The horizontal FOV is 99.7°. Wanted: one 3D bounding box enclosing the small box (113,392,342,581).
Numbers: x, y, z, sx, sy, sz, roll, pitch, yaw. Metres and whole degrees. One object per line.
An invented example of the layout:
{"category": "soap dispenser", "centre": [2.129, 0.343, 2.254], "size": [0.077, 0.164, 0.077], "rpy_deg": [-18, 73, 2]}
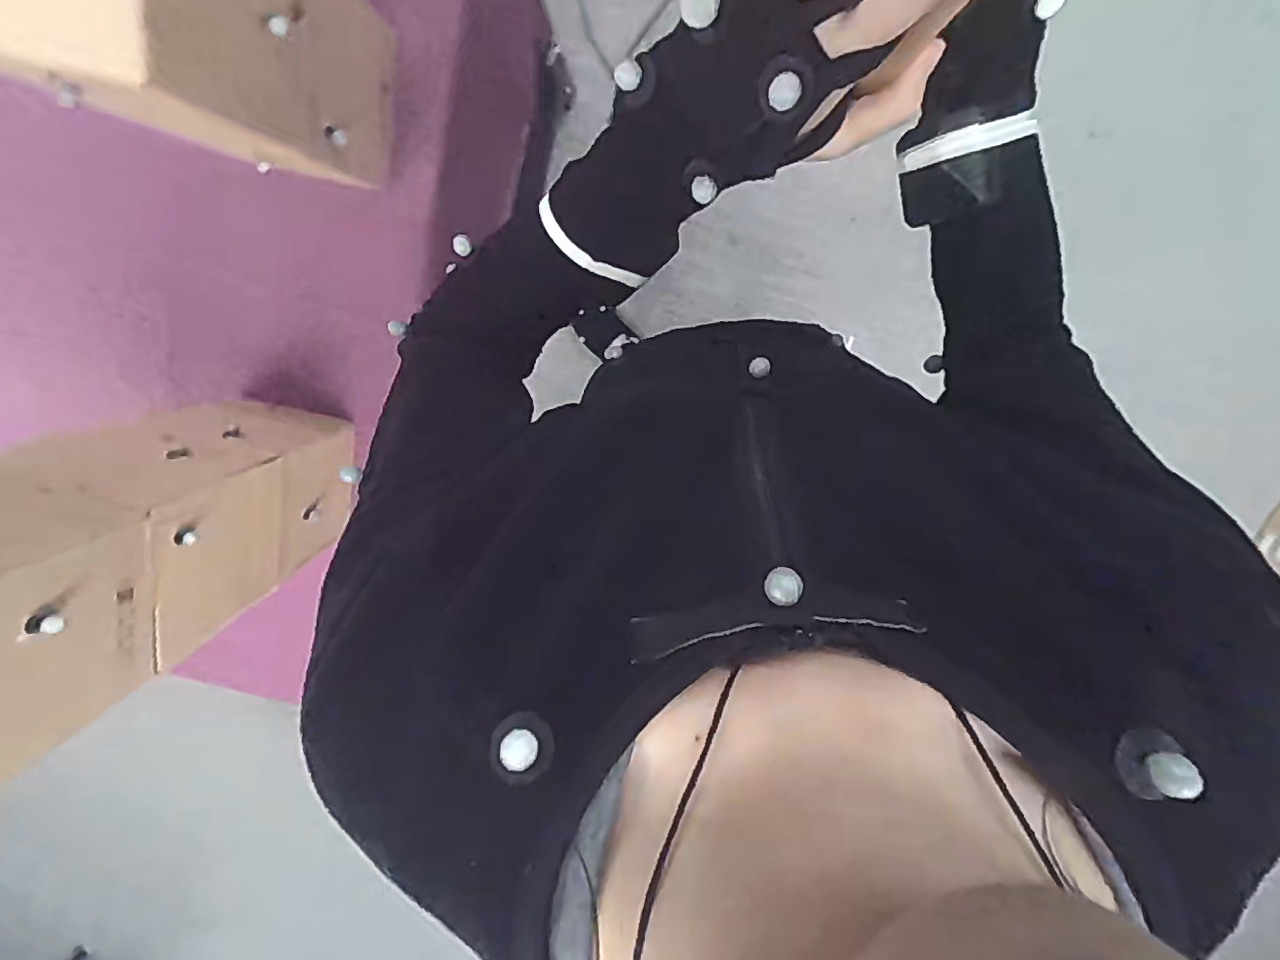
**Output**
{"category": "small box", "centre": [-0.509, -0.001, 0.692], "size": [0.168, 0.176, 0.179], "rpy_deg": [13, 108, -3]}

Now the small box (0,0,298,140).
{"category": "small box", "centre": [-0.388, -0.375, 0.394], "size": [0.179, 0.176, 0.168], "rpy_deg": [12, 108, -2]}

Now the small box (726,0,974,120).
{"category": "small box", "centre": [0.099, -0.288, 0.177], "size": [0.176, 0.168, 0.179], "rpy_deg": [34, 79, -12]}
